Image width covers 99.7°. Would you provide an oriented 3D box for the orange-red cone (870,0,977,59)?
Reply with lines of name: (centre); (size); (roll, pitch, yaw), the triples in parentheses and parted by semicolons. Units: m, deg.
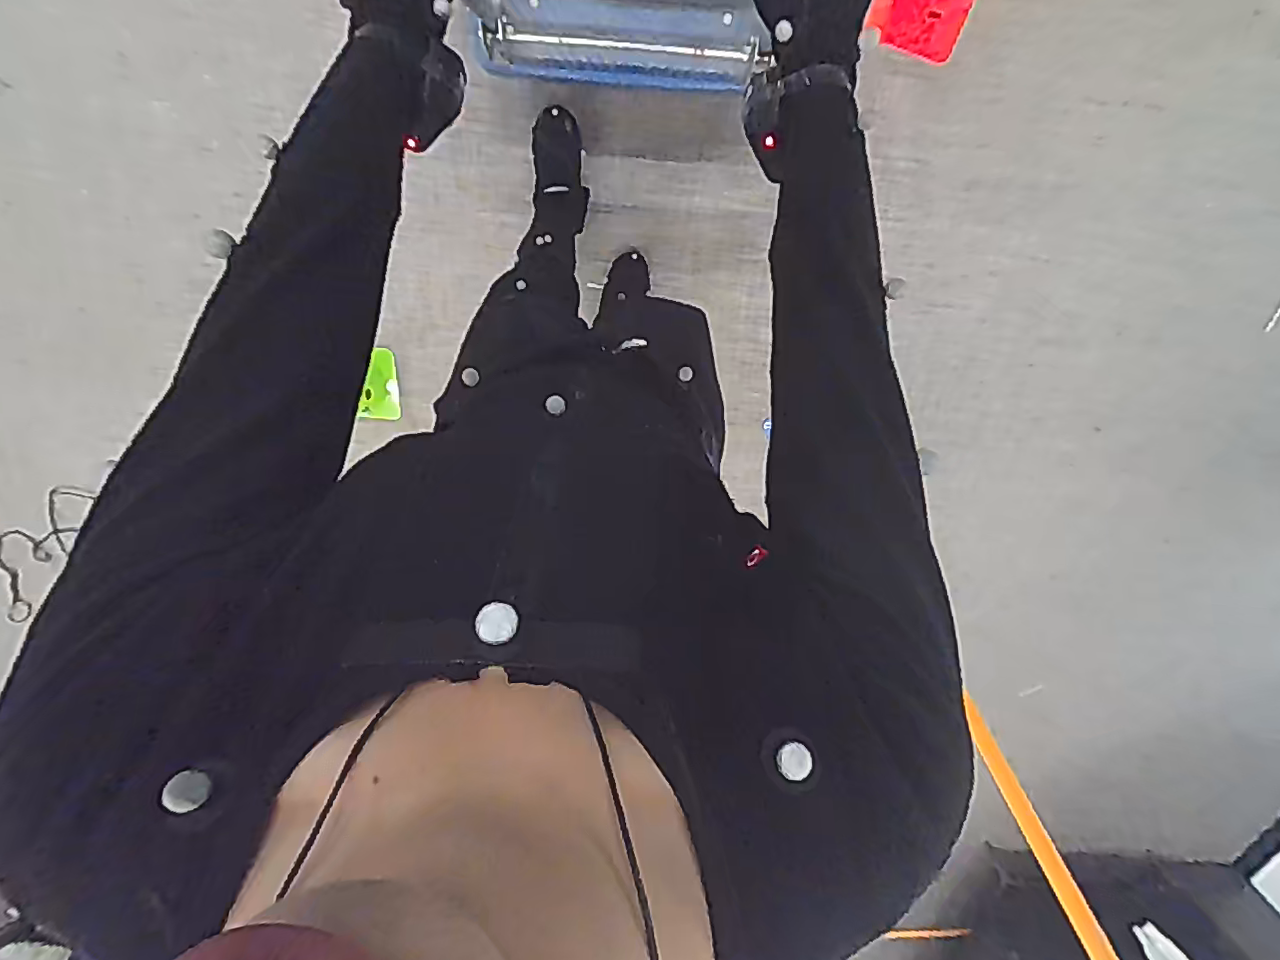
orange-red cone: (0.590, -0.917, 0.943); (0.198, 0.360, 0.199); (15, 117, -8)
